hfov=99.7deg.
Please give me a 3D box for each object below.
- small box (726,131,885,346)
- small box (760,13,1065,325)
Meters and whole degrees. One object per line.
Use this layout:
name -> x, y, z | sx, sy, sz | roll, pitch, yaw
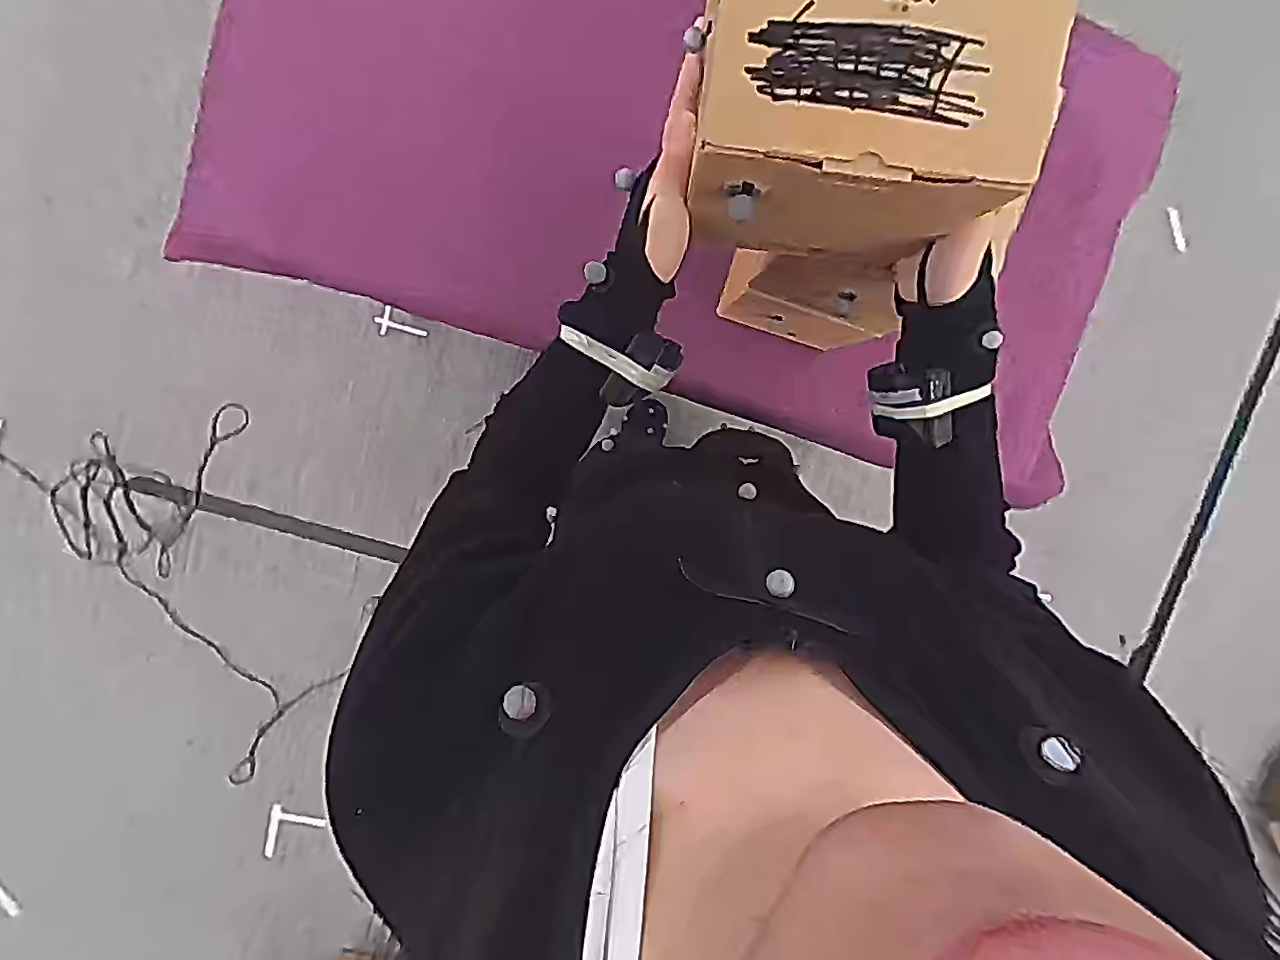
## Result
small box -> 0.215, -0.276, 0.667 | 0.168, 0.176, 0.179 | 17, 96, -5
small box -> 0.227, -0.259, 0.504 | 0.168, 0.176, 0.179 | 18, 96, -5
